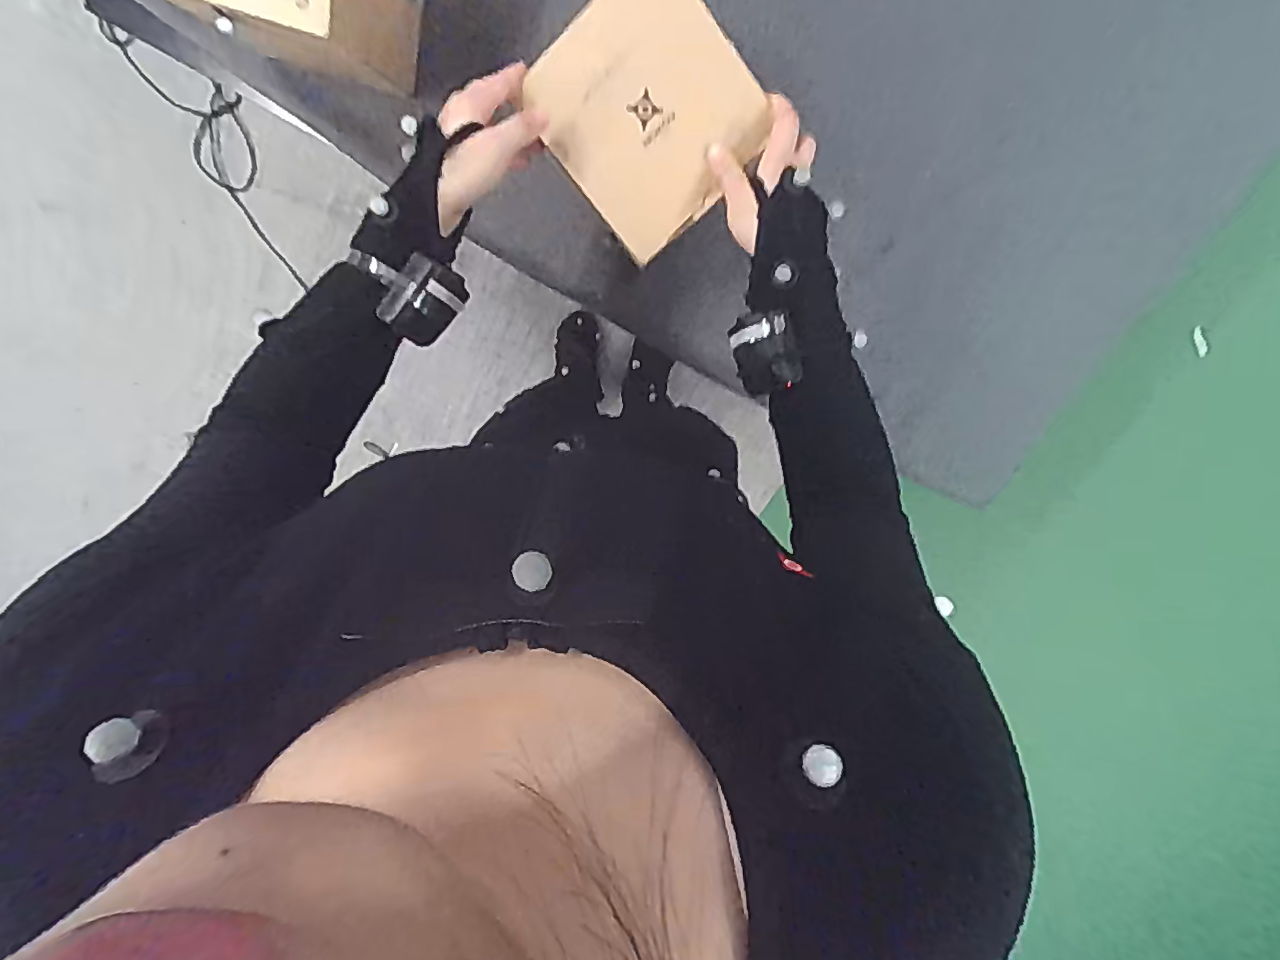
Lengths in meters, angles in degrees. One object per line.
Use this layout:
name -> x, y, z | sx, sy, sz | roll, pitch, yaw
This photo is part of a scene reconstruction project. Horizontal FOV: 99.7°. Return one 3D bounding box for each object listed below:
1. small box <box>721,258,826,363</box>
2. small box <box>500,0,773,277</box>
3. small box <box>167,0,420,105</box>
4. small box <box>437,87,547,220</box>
small box -> 0.301, -0.398, 1.267 | 0.168, 0.176, 0.179 | 23, 109, -7
small box -> -0.002, -0.323, 0.530 | 0.168, 0.176, 0.179 | -40, 104, 11
small box -> -0.310, -0.478, 0.480 | 0.168, 0.176, 0.179 | 16, 110, -3
small box -> -0.304, -0.695, 1.180 | 0.168, 0.176, 0.179 | 32, 107, -9
